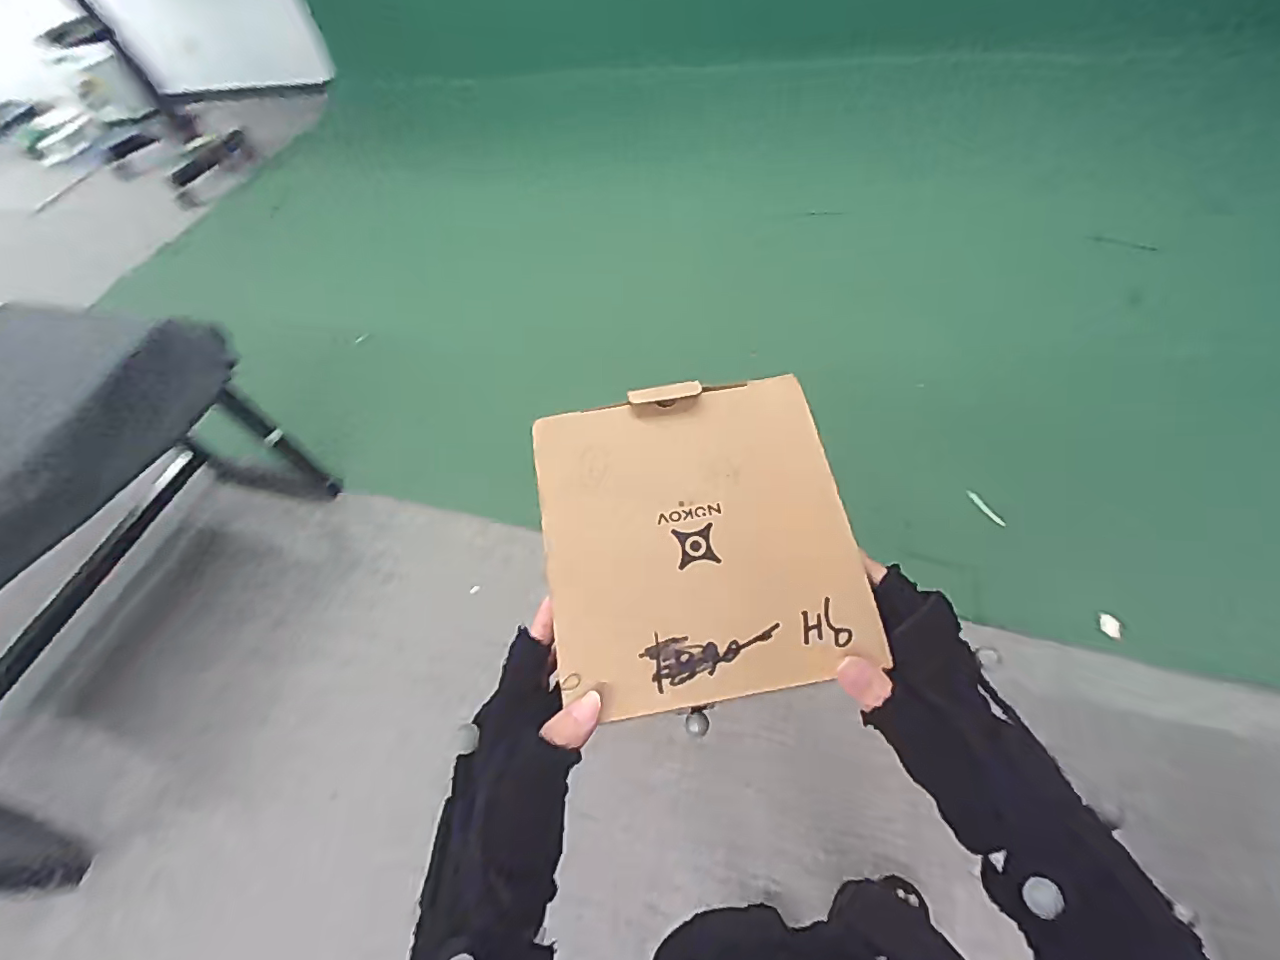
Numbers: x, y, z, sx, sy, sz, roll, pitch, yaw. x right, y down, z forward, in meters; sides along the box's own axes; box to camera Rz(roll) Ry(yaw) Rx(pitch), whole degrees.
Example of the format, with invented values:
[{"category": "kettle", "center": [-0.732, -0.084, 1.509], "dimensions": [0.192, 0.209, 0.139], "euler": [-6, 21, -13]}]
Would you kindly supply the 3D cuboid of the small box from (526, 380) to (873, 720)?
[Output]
[{"category": "small box", "center": [0.027, 0.060, 0.384], "dimensions": [0.168, 0.176, 0.179], "euler": [-13, 68, -3]}]
